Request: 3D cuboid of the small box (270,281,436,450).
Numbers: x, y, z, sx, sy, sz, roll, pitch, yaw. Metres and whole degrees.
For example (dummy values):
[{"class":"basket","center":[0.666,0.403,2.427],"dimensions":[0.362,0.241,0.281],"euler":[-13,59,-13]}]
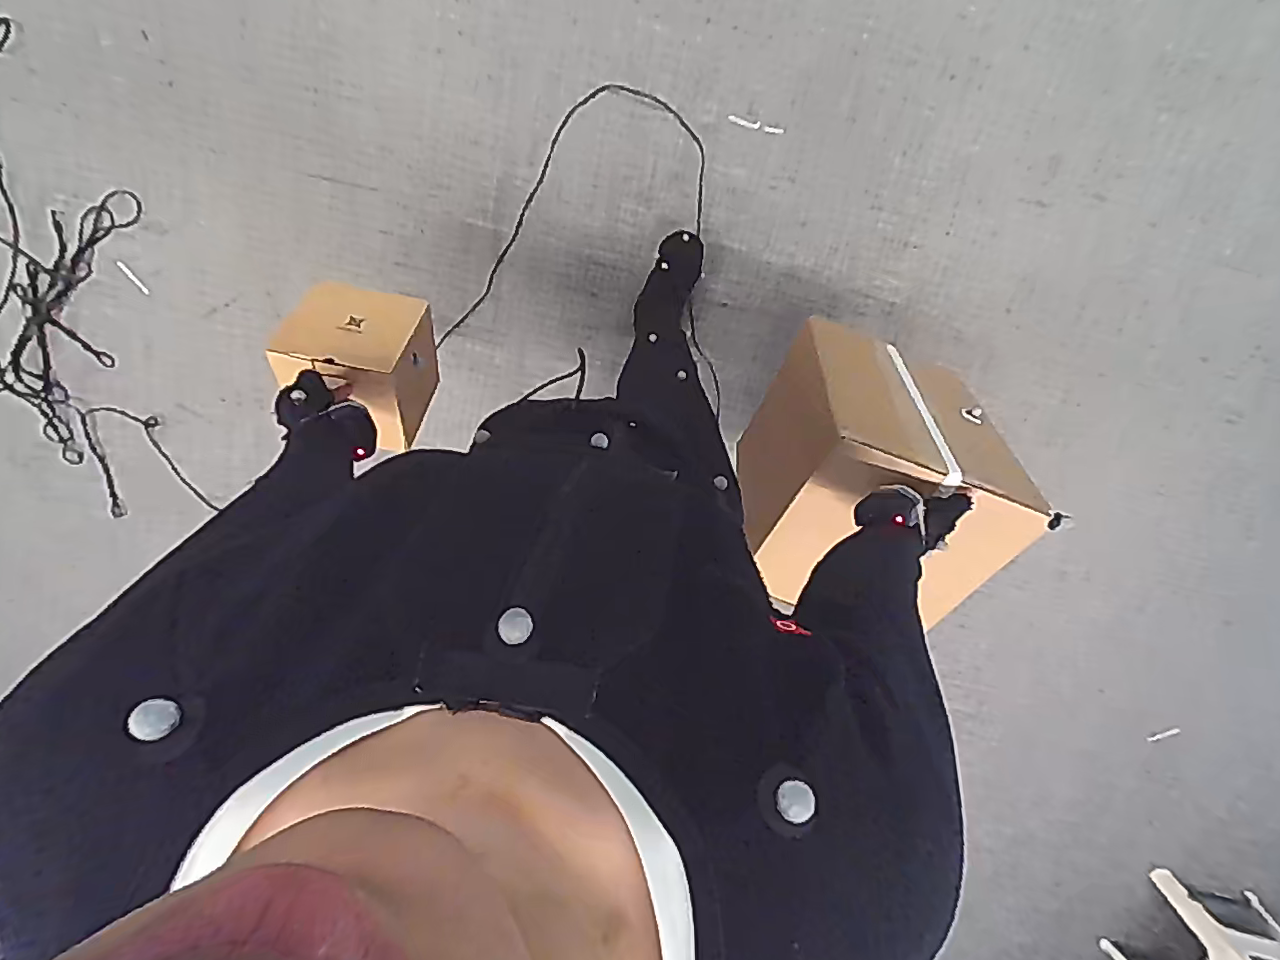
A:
[{"class":"small box","center":[-0.428,-0.175,0.845],"dimensions":[0.168,0.179,0.176],"euler":[10,141,-6]}]
